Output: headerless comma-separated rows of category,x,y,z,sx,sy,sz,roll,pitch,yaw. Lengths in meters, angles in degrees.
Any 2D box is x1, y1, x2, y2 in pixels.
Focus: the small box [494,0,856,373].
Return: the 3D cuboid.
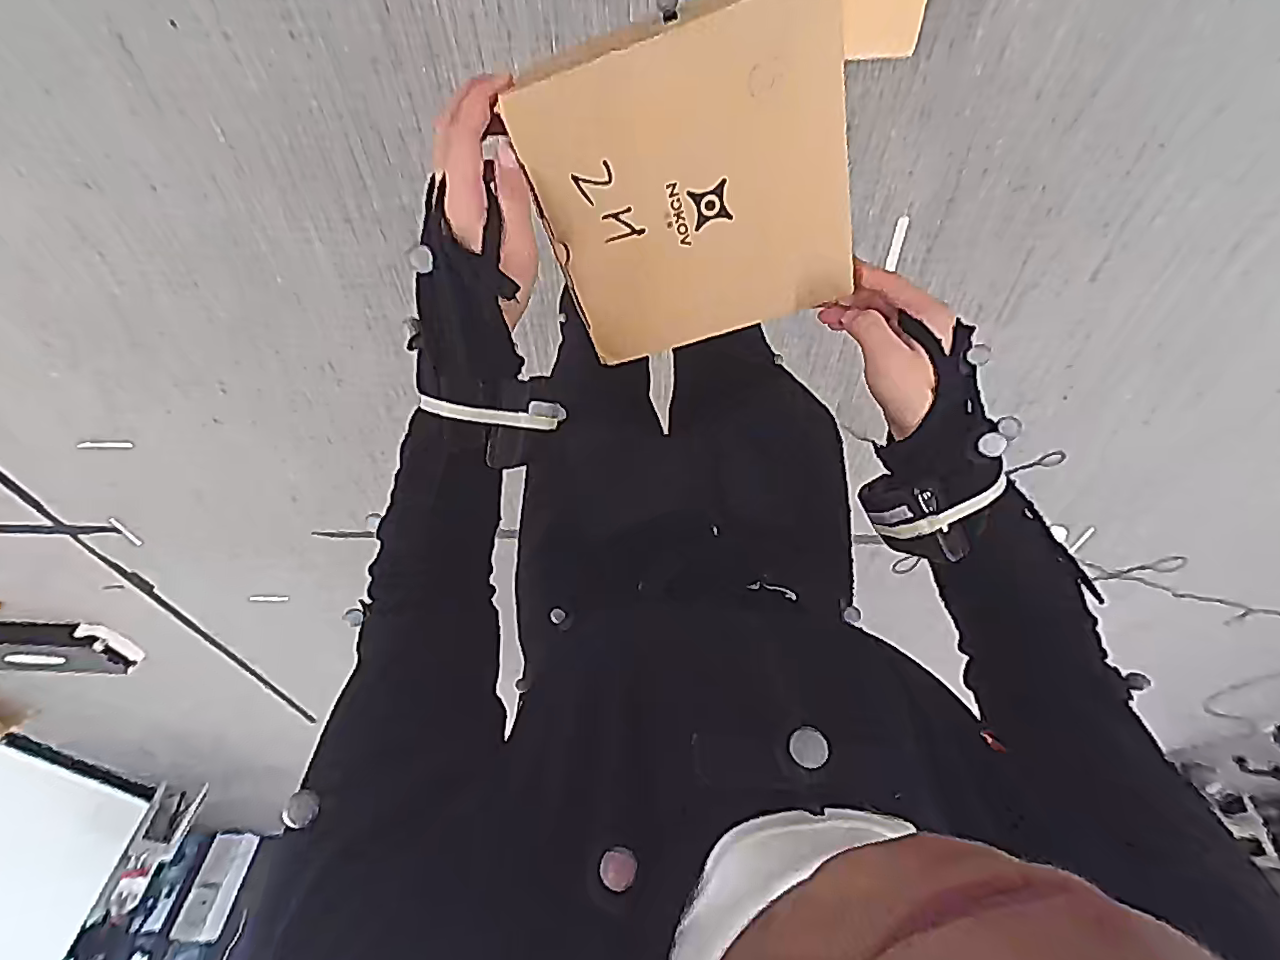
small box,0.027,-0.204,0.363,0.179,0.176,0.168,-14,131,10
